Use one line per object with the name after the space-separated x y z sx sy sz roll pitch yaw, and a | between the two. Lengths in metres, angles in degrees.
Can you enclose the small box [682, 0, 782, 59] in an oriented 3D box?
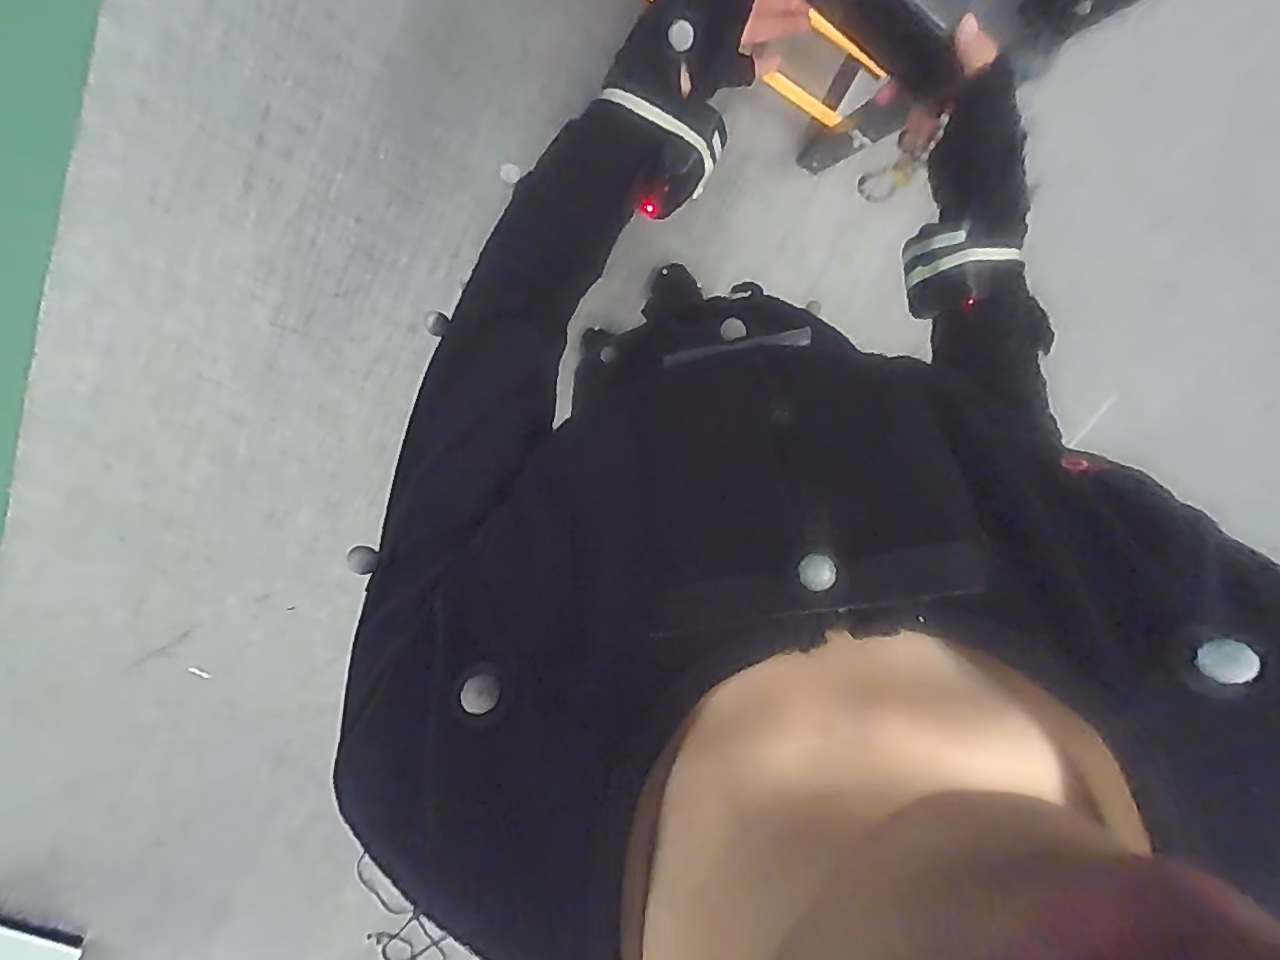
0.187 -0.916 0.974 0.168 0.176 0.179 31 107 -12 | small box
